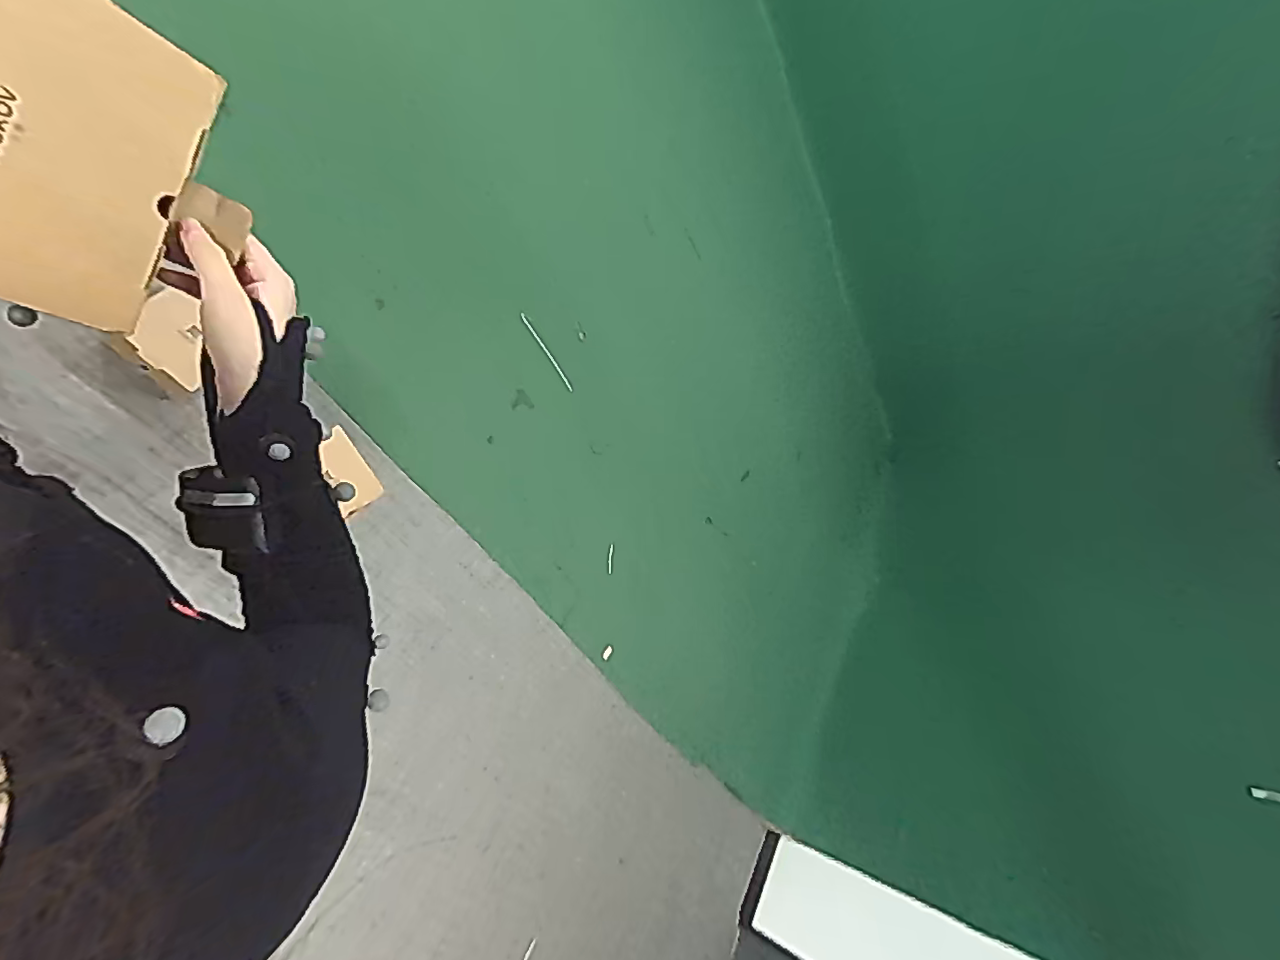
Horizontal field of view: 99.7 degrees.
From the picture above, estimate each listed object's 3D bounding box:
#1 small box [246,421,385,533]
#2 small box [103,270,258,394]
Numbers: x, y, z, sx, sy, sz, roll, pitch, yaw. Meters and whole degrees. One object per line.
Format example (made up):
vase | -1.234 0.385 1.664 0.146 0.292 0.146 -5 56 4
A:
small box | -0.690 -0.007 1.147 0.168 0.176 0.179 -43 121 -36
small box | -0.941 -0.294 1.110 0.168 0.176 0.179 54 54 -33
